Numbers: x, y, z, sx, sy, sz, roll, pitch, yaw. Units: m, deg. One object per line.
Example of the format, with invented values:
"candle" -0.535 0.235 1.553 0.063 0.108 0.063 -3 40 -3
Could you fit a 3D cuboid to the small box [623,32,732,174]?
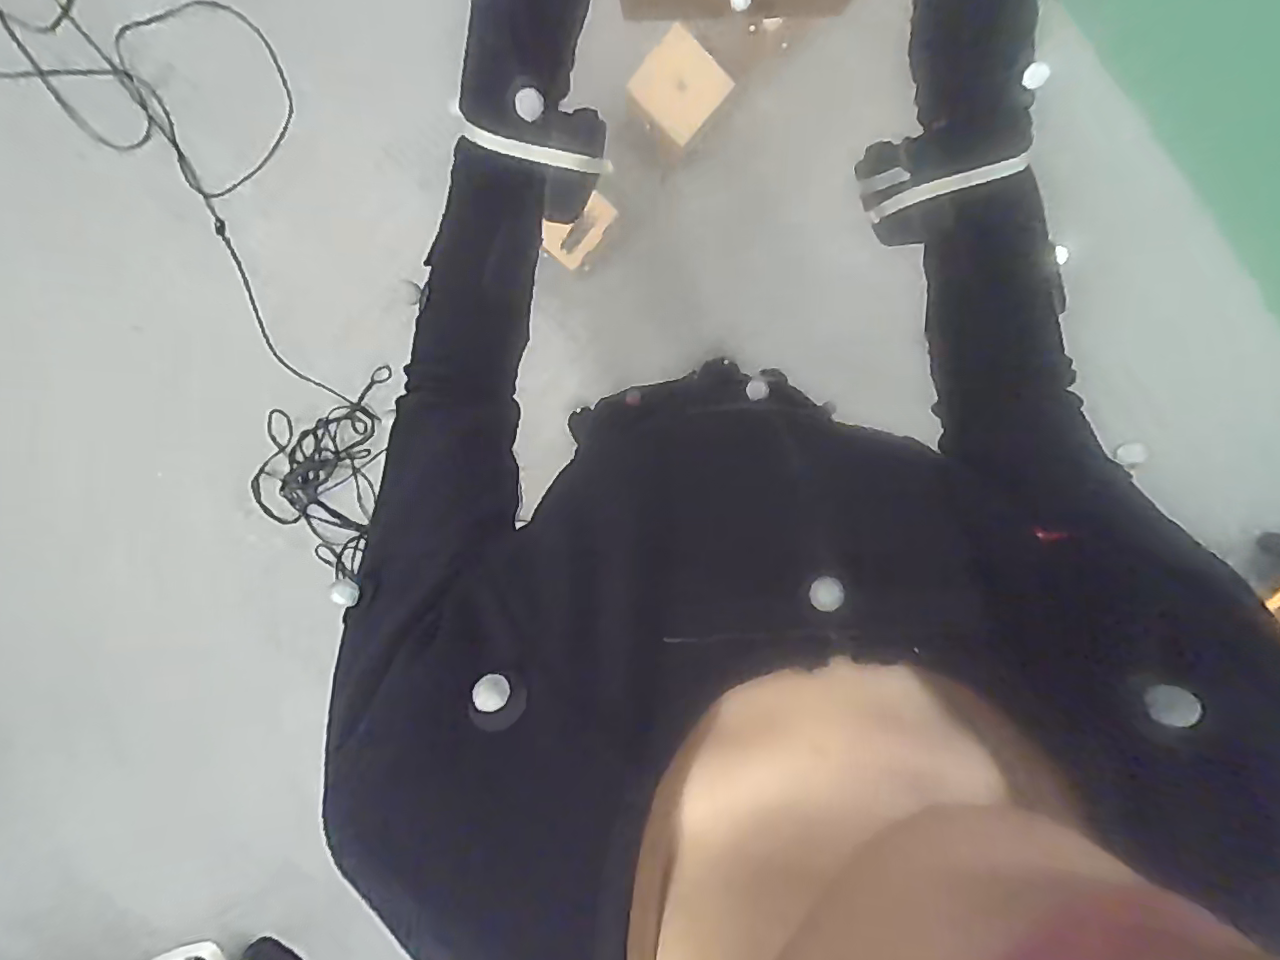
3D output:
"small box" 0.078 -0.837 1.226 0.179 0.176 0.168 41 100 -9
